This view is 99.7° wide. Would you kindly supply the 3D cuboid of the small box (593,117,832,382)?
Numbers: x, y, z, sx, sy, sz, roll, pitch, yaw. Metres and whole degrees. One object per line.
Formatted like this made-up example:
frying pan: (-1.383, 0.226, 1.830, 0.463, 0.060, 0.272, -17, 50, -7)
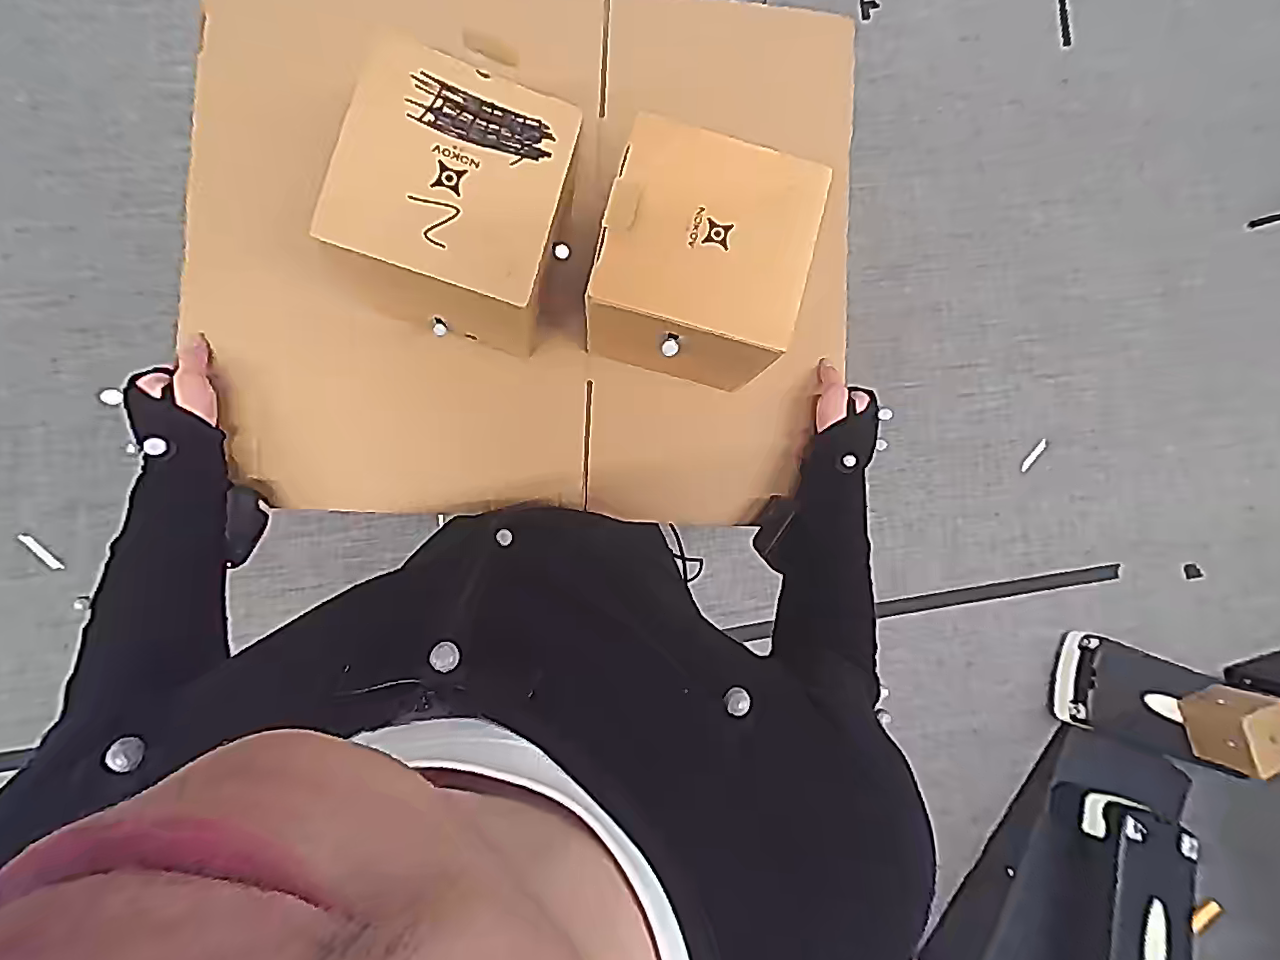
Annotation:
small box: (0.059, -0.207, 0.540, 0.179, 0.176, 0.168, 15, 88, -3)
